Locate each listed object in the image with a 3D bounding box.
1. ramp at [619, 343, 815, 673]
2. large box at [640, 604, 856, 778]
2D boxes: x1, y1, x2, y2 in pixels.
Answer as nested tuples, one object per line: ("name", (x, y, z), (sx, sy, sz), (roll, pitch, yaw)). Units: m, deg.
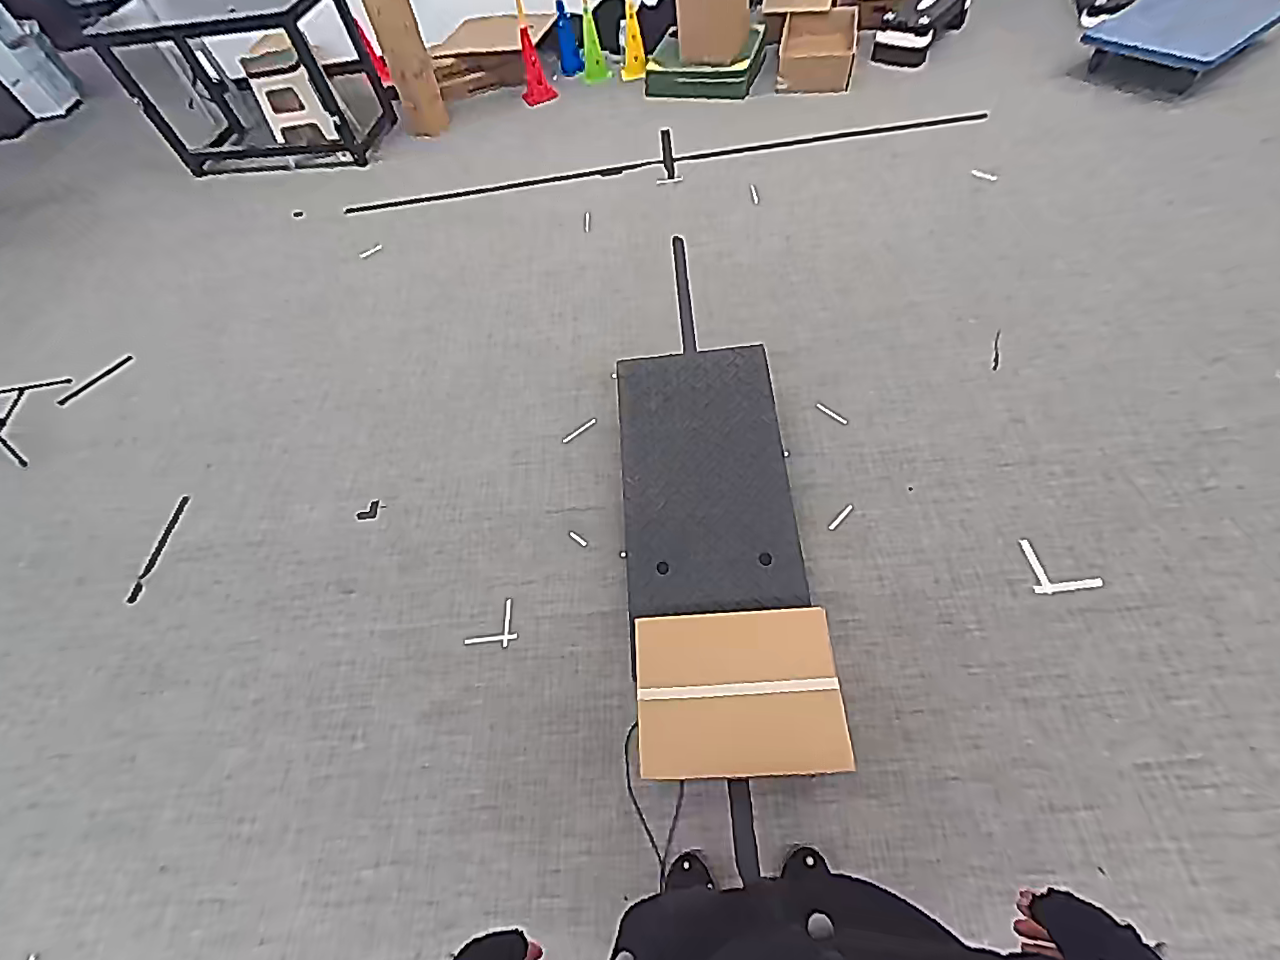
("ramp", (0.204, 0.033, 1.604), (0.509, 0.206, 0.991), (-7, 57, 3))
("large box", (0.222, 0.490, 1.230), (0.408, 0.320, 0.320), (-5, 60, 5))
